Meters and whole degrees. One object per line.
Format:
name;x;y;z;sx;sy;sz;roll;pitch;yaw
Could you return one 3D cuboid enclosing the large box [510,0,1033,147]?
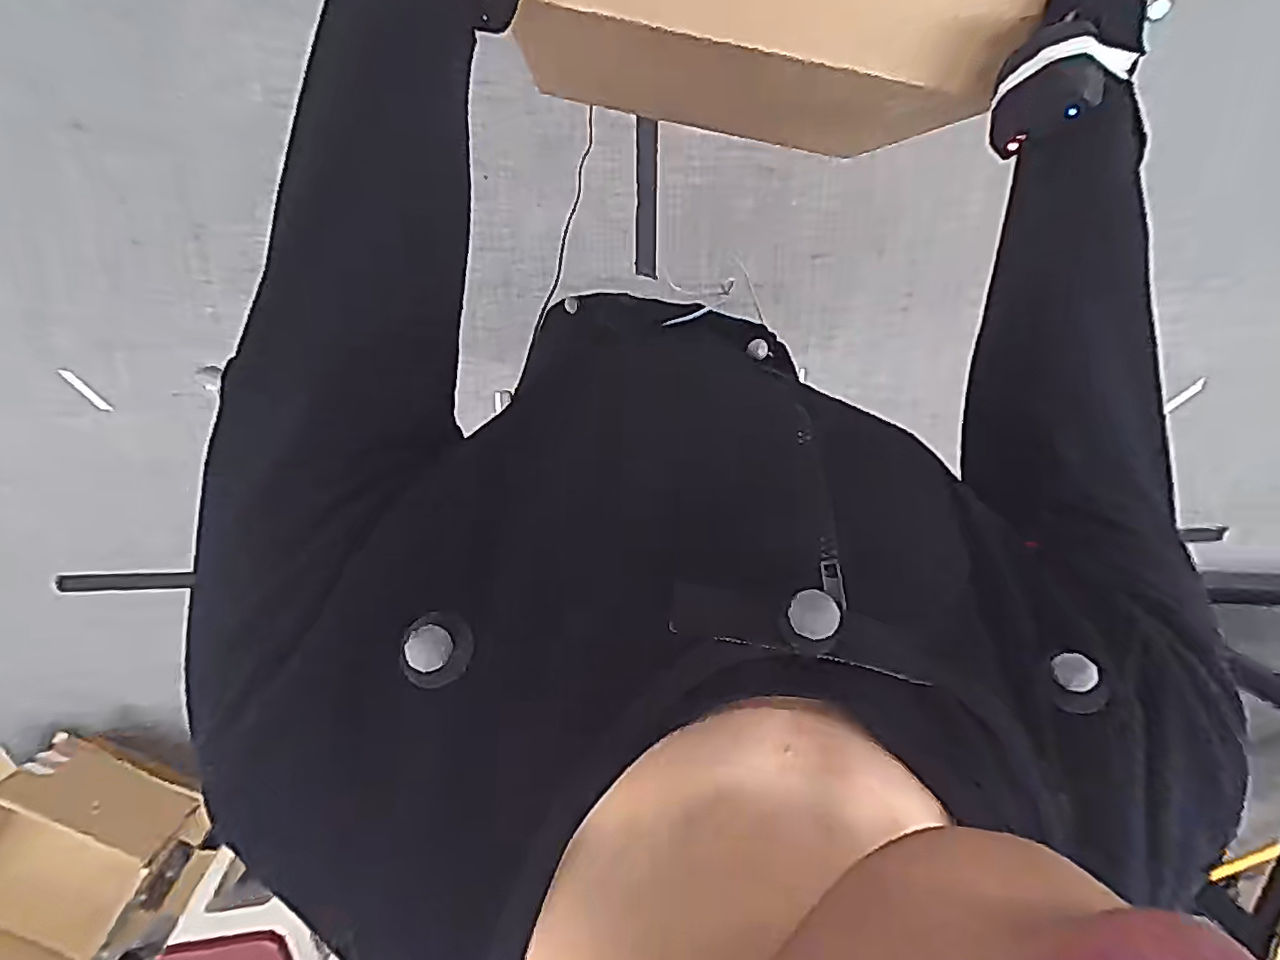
large box;0.106;-0.529;0.485;0.408;0.320;0.320;7;114;-7
